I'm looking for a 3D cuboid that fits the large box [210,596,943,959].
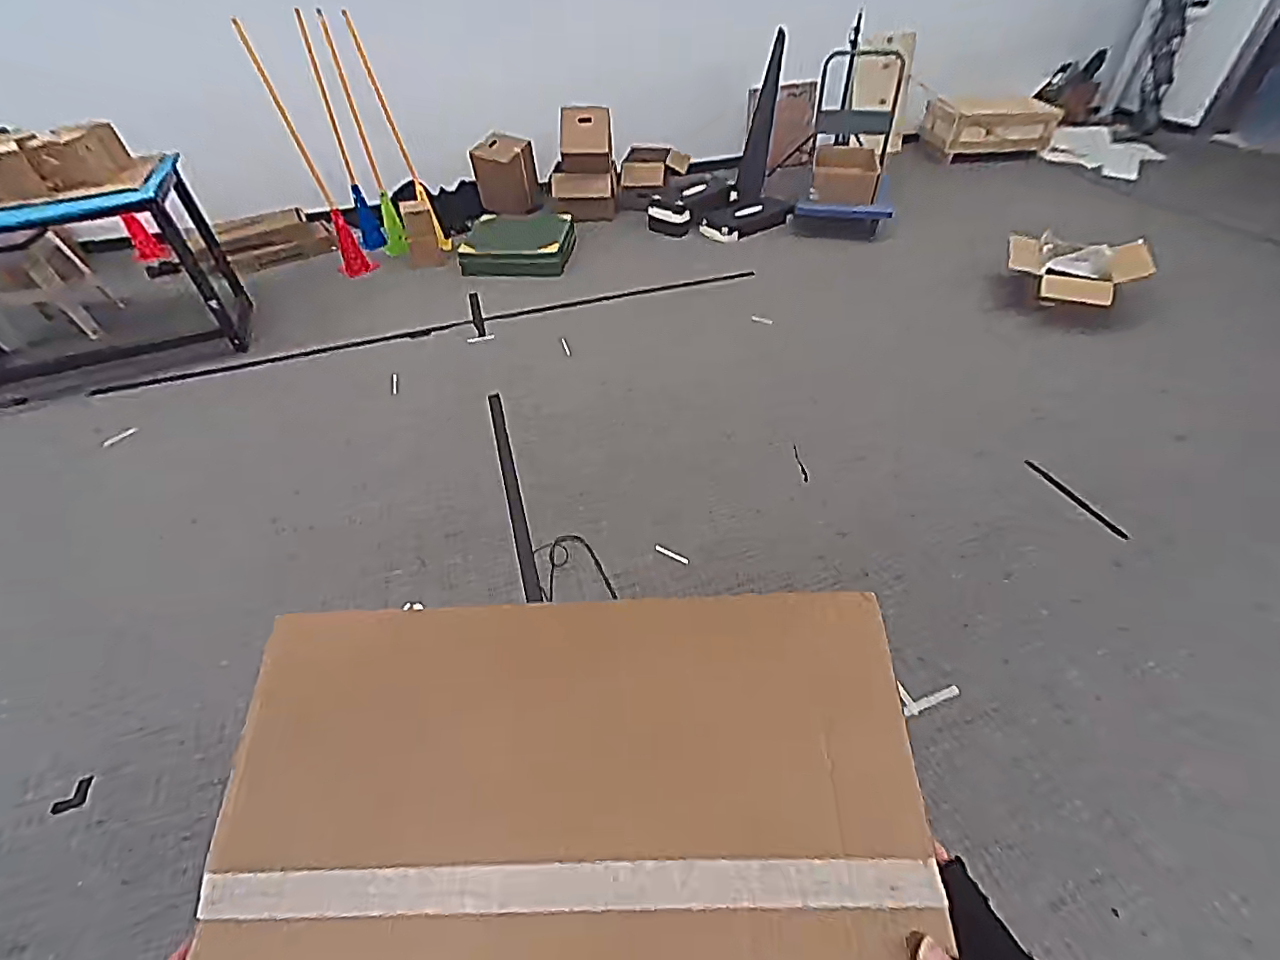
[{"bbox_3d":[-0.032,0.293,0.438,0.408,0.320,0.320,-3,65,3],"label":"large box"}]
